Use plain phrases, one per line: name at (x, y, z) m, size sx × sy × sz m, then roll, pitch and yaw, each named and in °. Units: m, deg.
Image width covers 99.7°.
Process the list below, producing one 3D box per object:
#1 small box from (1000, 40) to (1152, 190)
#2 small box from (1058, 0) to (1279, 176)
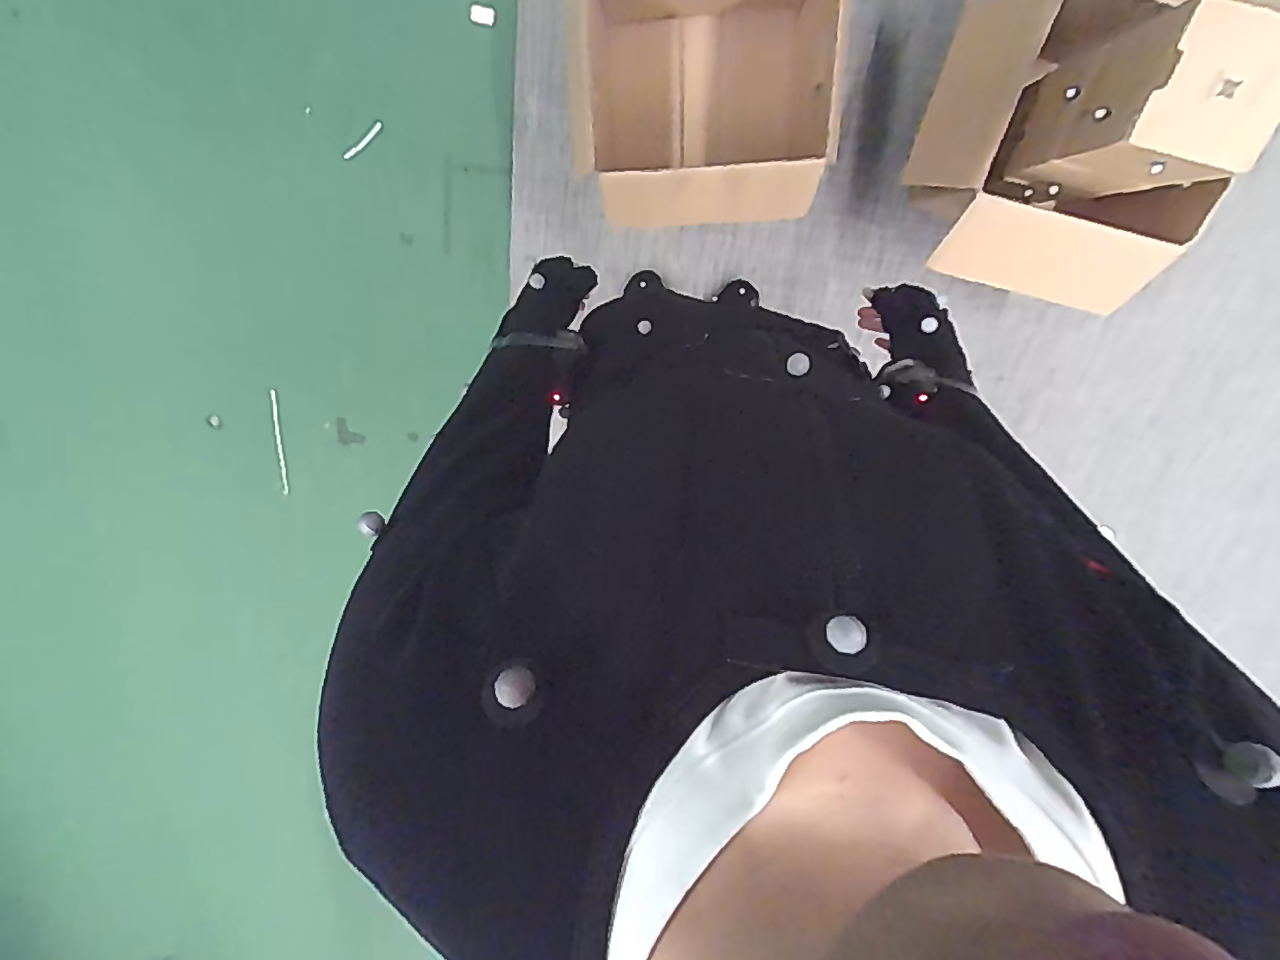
small box at (0.781, -0.614, 0.934) m, size 0.179 × 0.176 × 0.168 m, roll 14°, pitch 113°, yaw -1°
small box at (0.769, -0.554, 0.783) m, size 0.179 × 0.176 × 0.168 m, roll 13°, pitch 115°, yaw -1°
